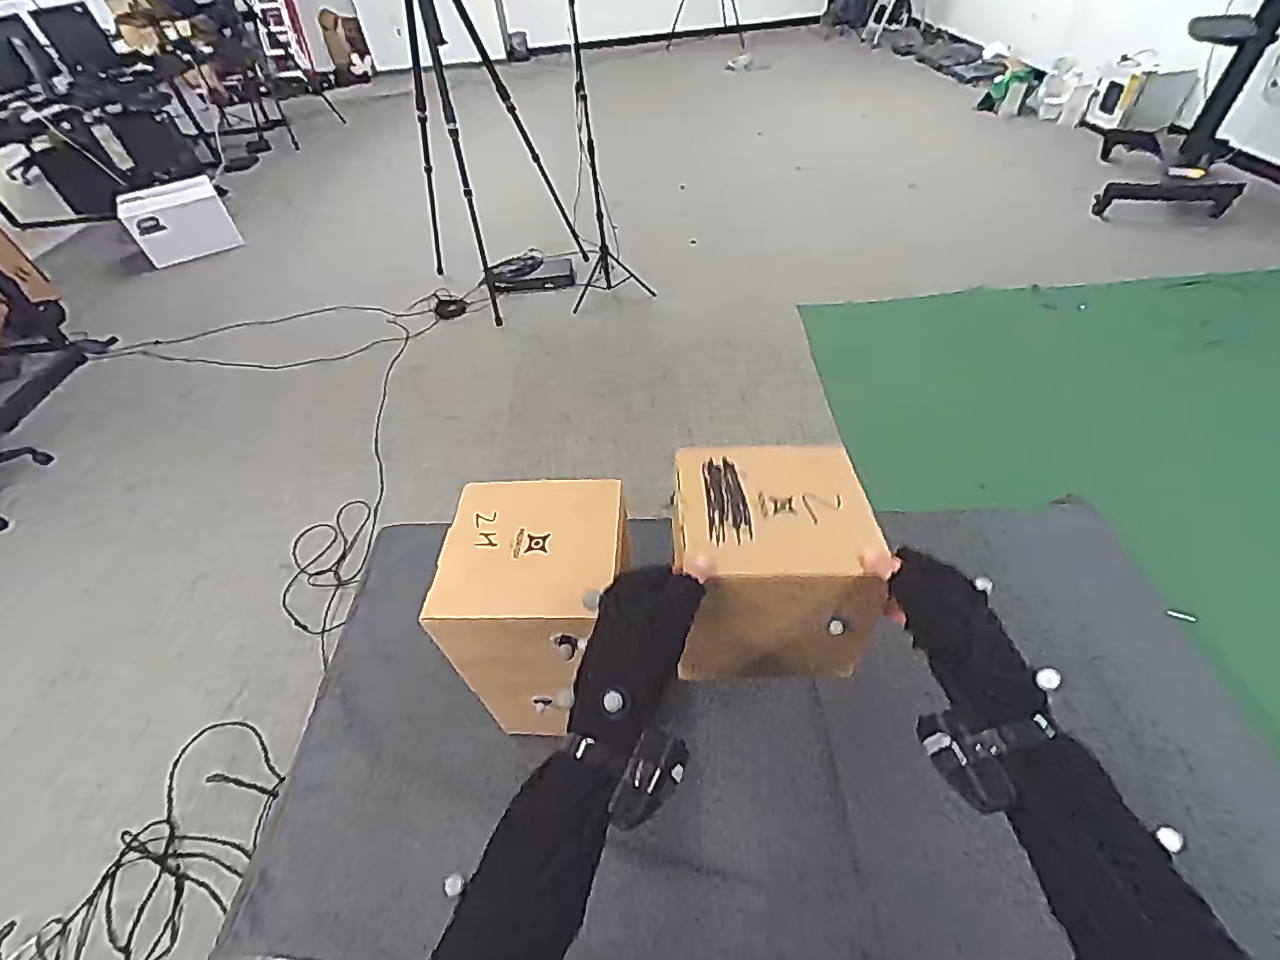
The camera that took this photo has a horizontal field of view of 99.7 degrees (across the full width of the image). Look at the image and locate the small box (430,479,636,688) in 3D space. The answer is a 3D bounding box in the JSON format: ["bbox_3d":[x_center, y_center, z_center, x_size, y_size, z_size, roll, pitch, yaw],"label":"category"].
[{"bbox_3d":[-0.097,0.116,0.596,0.179,0.176,0.168,-1,46,4],"label":"small box"}]

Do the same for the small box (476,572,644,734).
[{"bbox_3d":[-0.091,0.224,0.720,0.179,0.176,0.168,1,47,5],"label":"small box"}]
